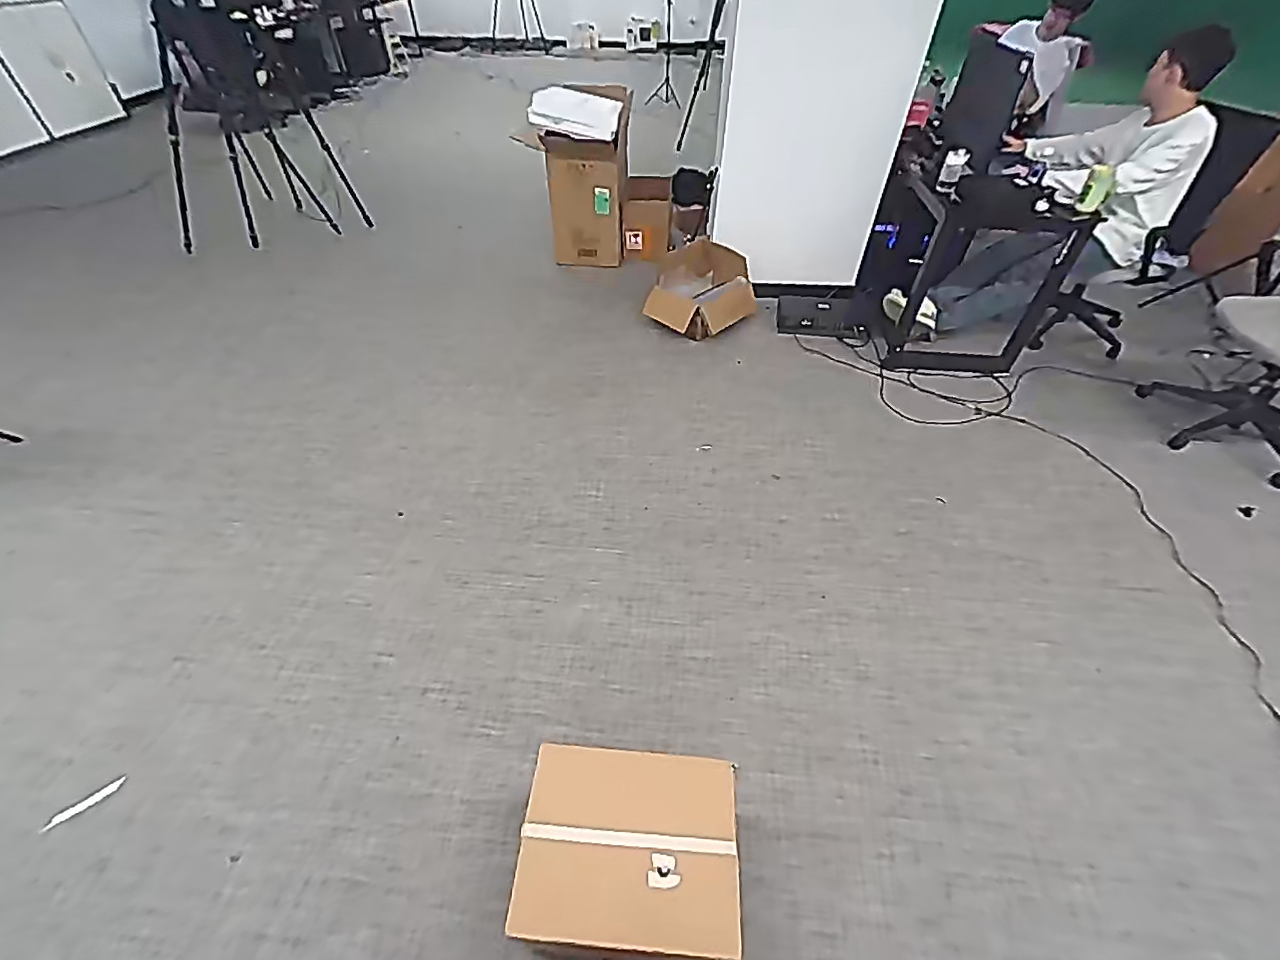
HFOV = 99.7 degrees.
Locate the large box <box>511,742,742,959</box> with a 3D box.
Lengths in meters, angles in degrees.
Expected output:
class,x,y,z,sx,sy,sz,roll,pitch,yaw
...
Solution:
class,x,y,z,sx,sy,sz,roll,pitch,yaw
large box,-0.022,0.773,1.123,0.408,0.320,0.320,5,46,2
